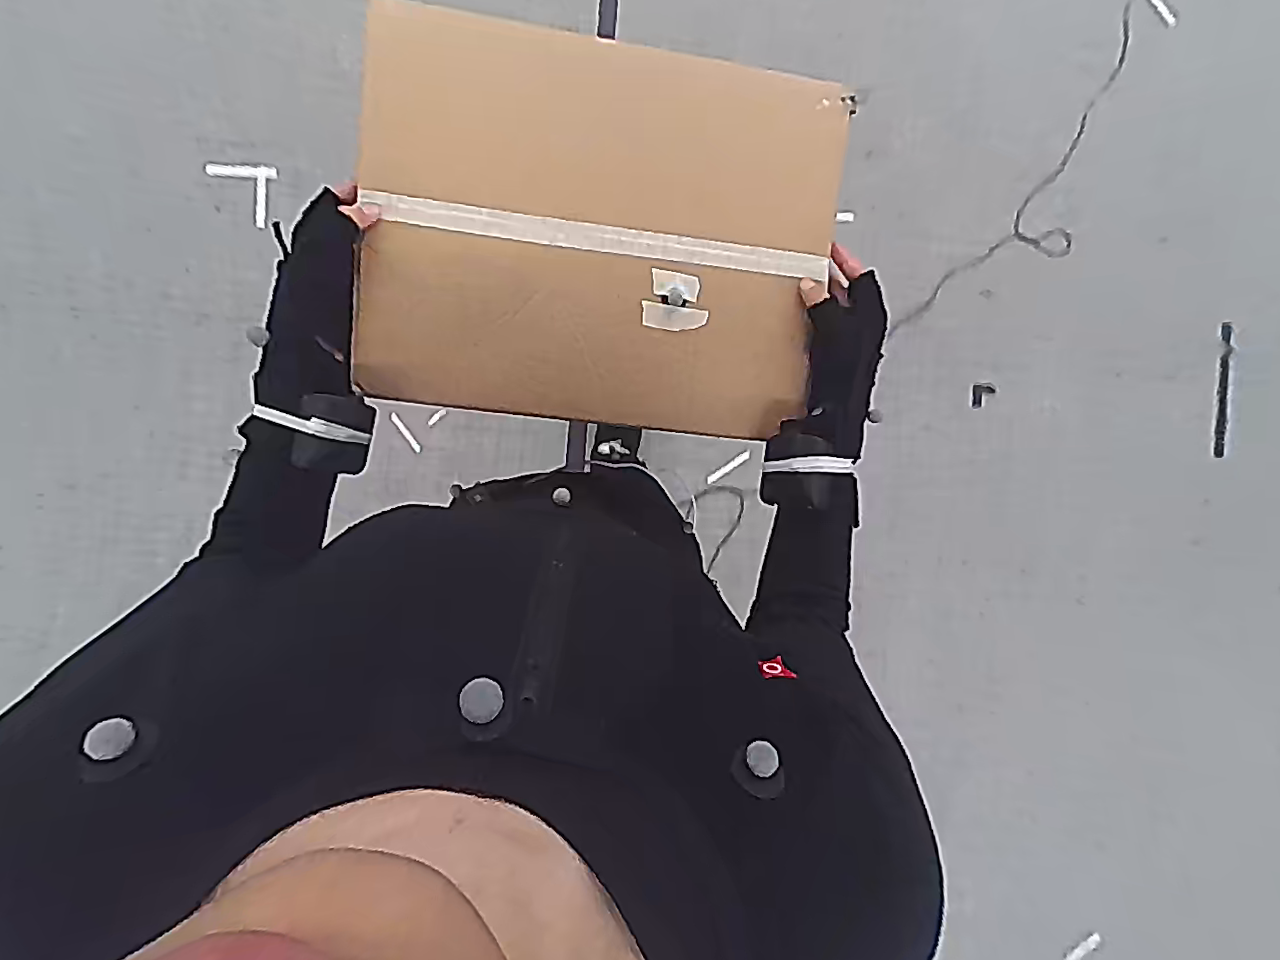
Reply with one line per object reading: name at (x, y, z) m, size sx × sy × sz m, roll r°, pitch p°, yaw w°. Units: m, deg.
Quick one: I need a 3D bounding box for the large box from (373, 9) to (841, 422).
large box at (-0.045, -0.240, 0.626) m, size 0.408 × 0.320 × 0.320 m, roll 5°, pitch 98°, yaw -7°
